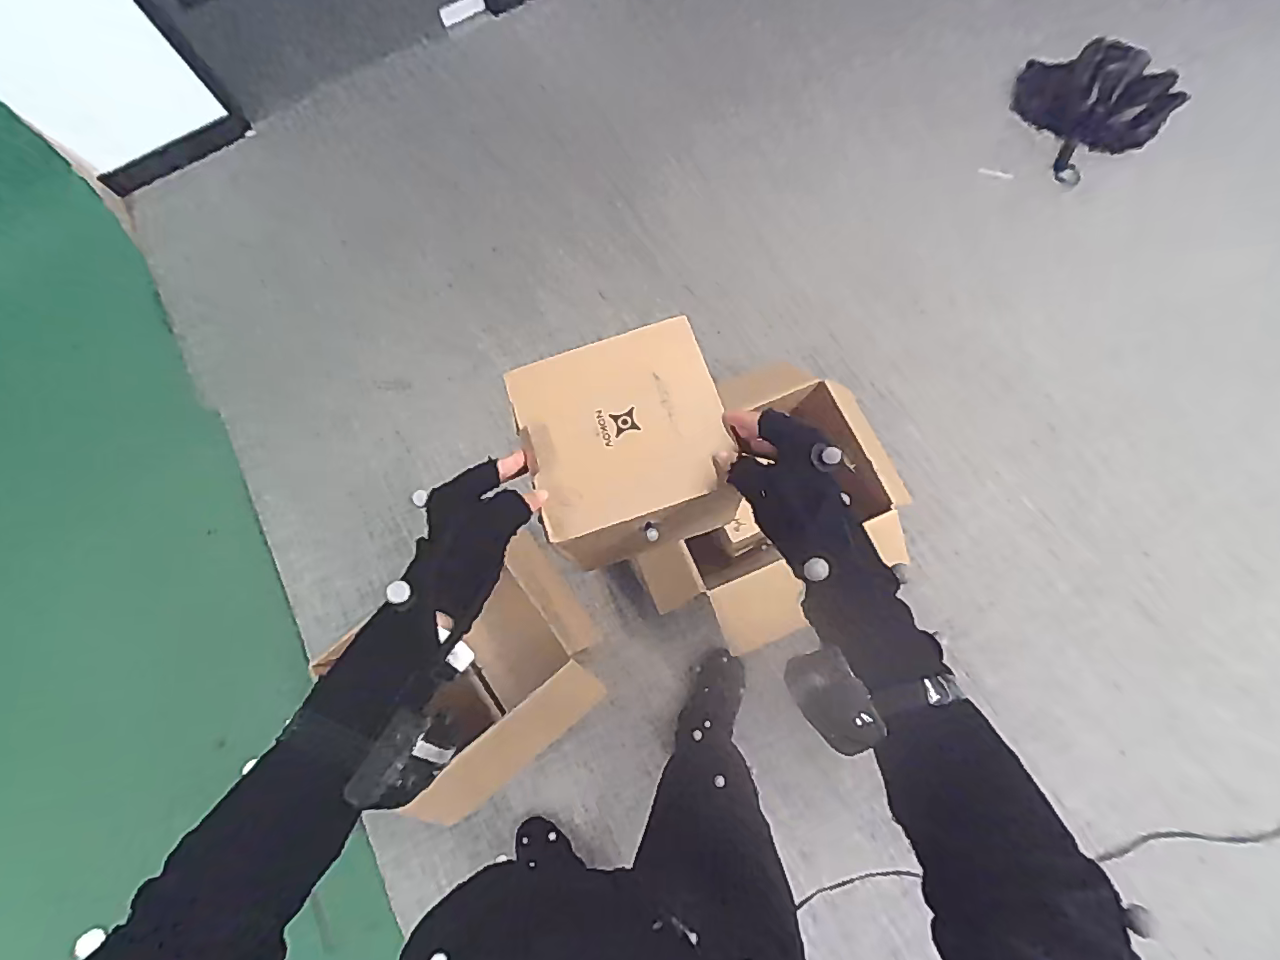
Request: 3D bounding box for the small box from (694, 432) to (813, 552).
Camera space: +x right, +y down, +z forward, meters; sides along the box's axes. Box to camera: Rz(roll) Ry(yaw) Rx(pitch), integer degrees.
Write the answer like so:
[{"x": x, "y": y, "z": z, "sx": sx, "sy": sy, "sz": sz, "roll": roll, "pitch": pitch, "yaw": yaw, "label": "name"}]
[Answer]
[{"x": 0.218, "y": 0.031, "z": 1.096, "sx": 0.179, "sy": 0.176, "sz": 0.168, "roll": -24, "pitch": 73, "yaw": -2, "label": "small box"}]
